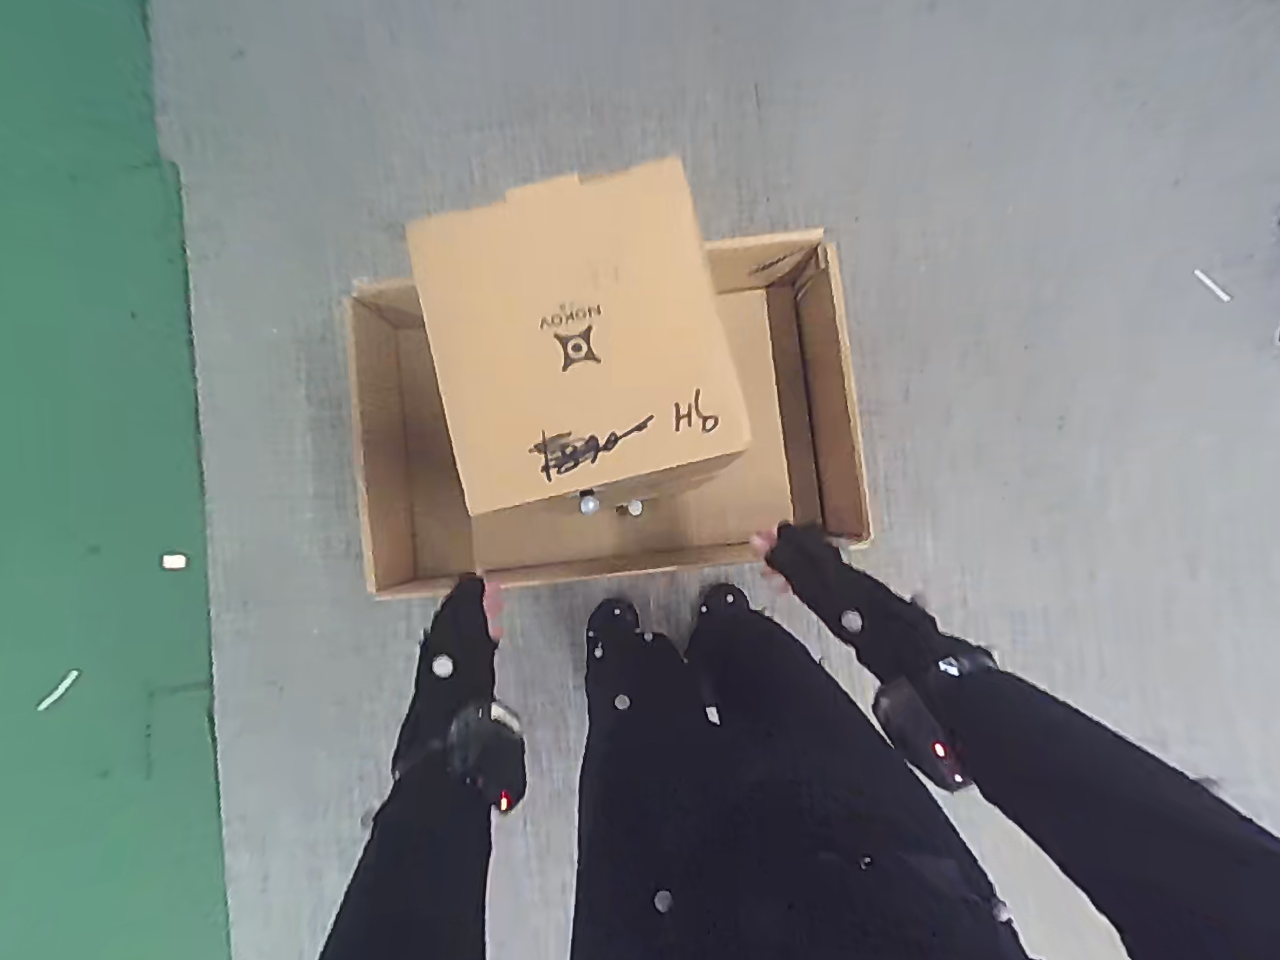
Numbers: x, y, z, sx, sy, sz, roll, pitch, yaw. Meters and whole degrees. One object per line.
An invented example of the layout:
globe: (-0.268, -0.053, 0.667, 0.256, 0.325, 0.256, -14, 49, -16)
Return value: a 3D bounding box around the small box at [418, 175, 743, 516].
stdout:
small box: (-0.033, -0.075, 0.397, 0.168, 0.176, 0.179, -14, 85, 3)
